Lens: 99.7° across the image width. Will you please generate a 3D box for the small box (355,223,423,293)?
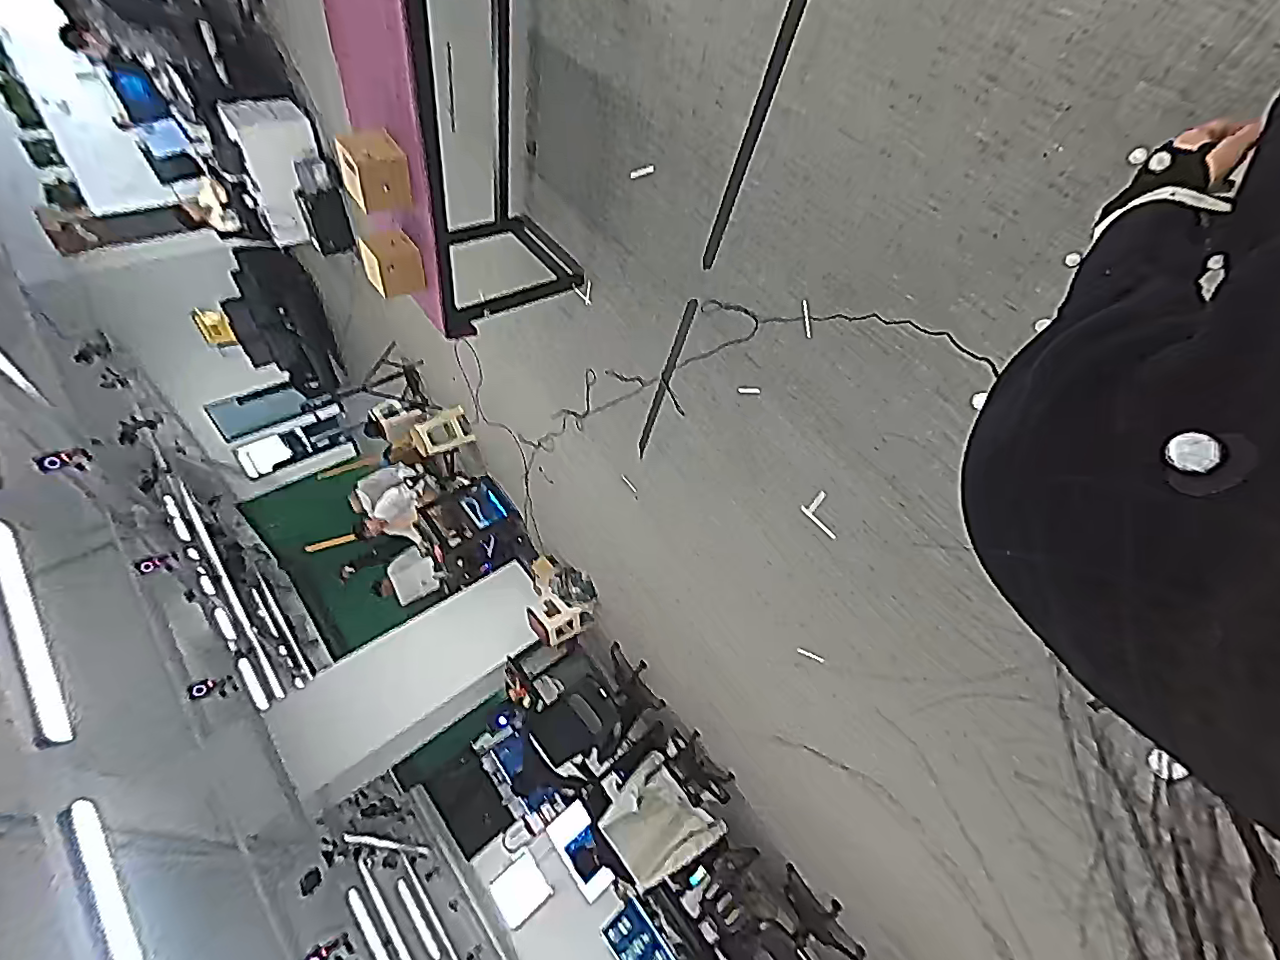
[{"bbox_3d":[-0.961,-0.859,2.081,0.168,0.176,0.179,48,149,22],"label":"small box"}]
